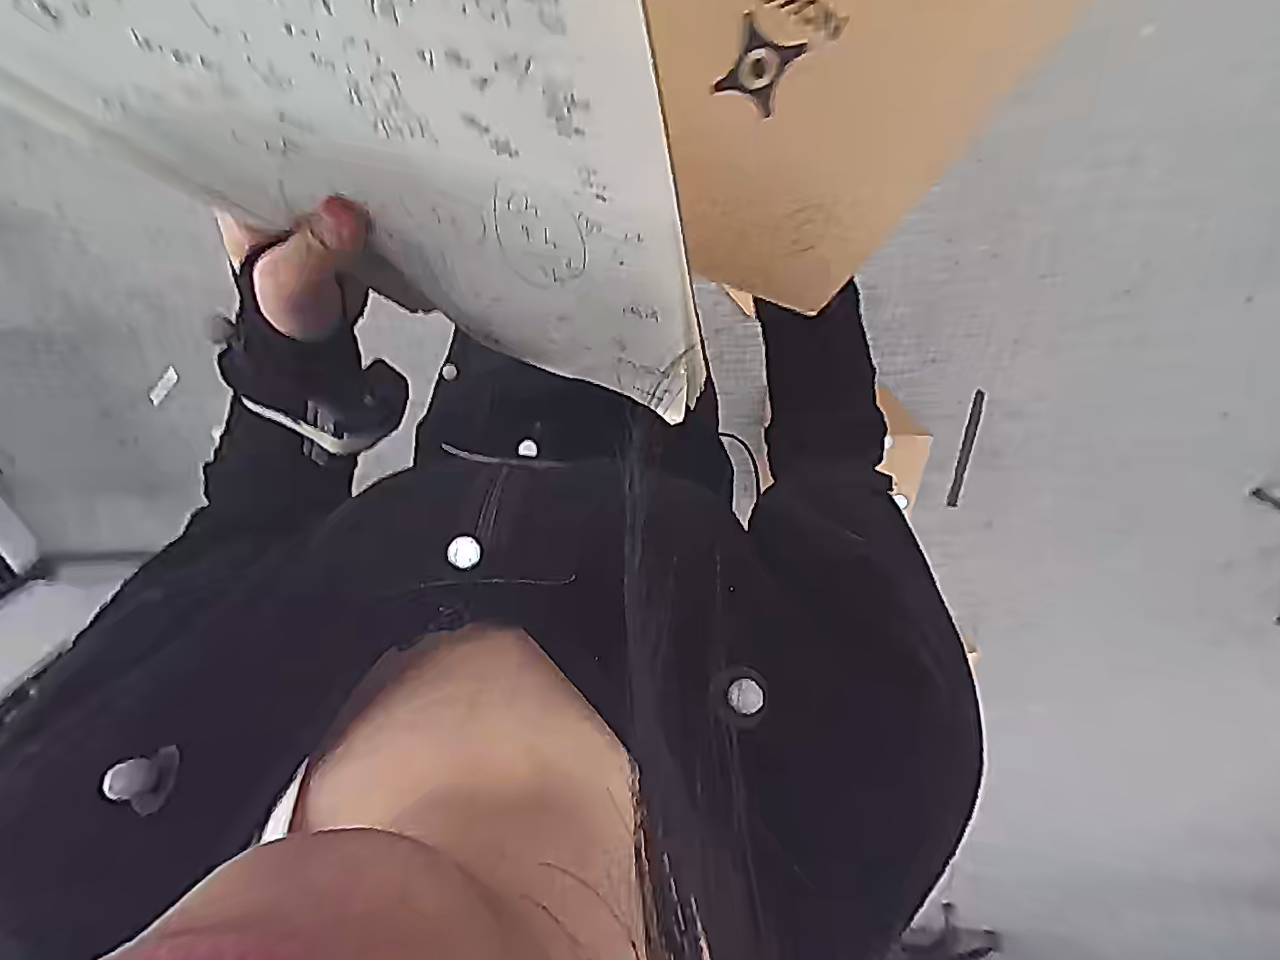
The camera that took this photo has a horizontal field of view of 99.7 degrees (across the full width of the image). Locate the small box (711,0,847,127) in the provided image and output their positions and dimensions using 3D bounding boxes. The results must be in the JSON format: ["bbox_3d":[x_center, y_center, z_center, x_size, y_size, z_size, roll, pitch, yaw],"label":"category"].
[{"bbox_3d":[0.246,-0.797,1.007,0.168,0.176,0.179,36,118,-17],"label":"small box"}]
